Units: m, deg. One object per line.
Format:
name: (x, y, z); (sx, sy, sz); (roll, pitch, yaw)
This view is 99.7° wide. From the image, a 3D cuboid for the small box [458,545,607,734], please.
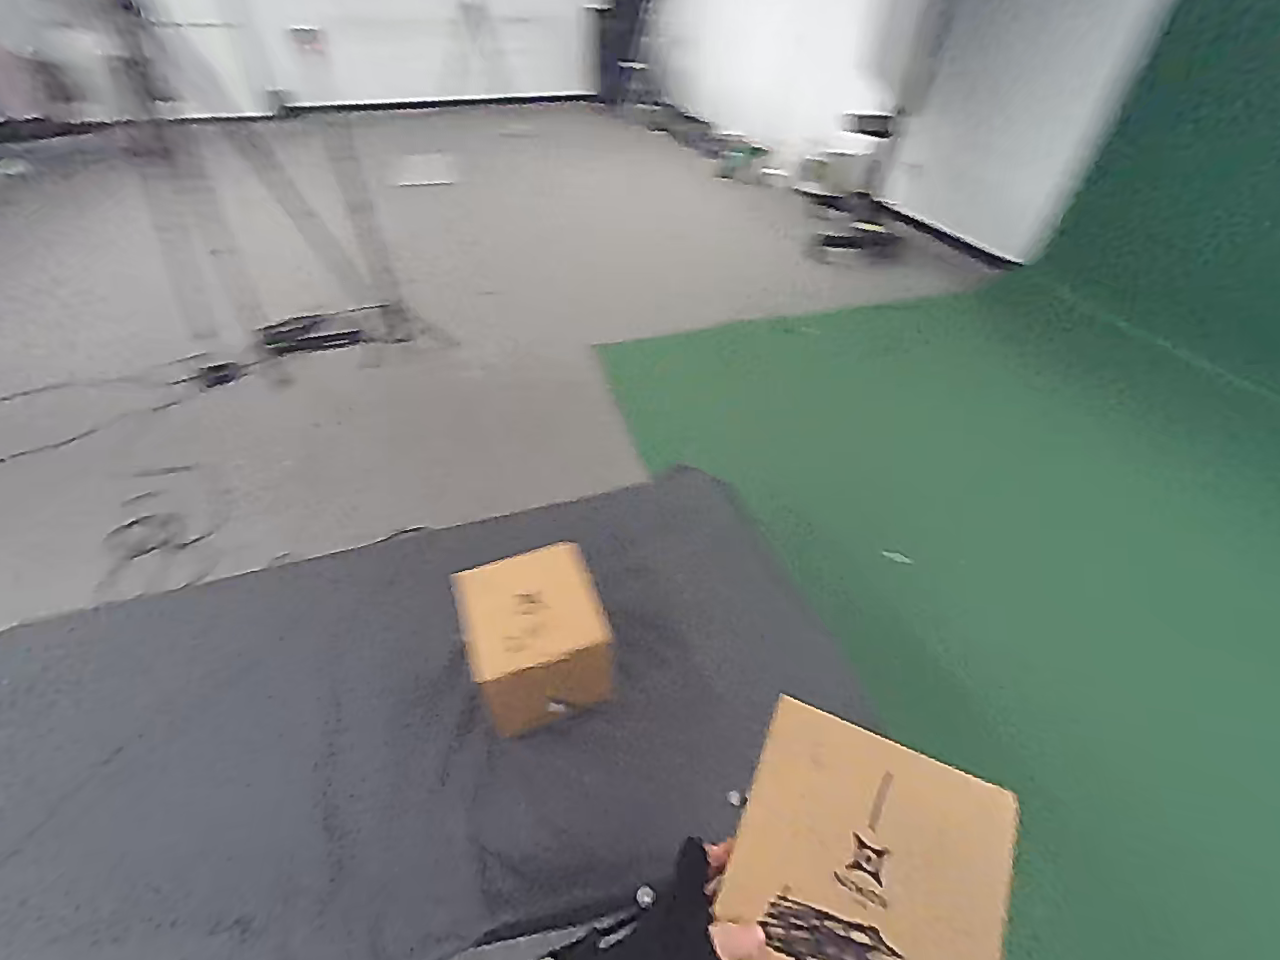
small box: (-0.153, 0.229, 0.783); (0.168, 0.176, 0.179); (-16, 45, -16)
